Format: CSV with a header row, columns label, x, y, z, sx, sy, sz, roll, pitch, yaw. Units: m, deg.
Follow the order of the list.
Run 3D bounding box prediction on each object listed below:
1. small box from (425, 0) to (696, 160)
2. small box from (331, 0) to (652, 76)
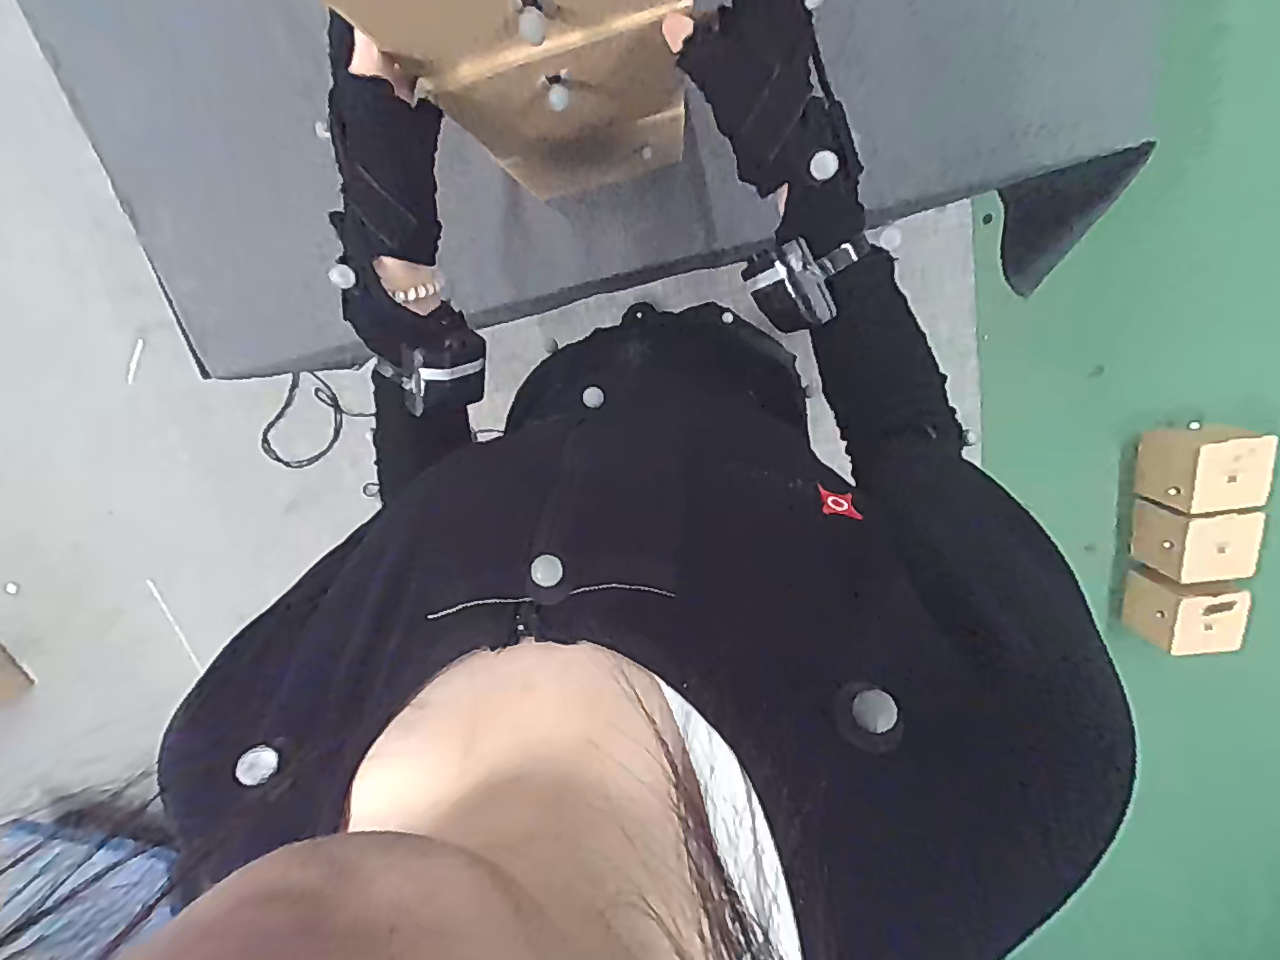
label,x,y,z,sx,sy,sz,roll,pitch,yaw
small box,-0.066,-0.361,0.390,0.179,0.176,0.168,-13,106,7
small box,-0.078,-0.317,0.232,0.179,0.176,0.168,-11,106,6
